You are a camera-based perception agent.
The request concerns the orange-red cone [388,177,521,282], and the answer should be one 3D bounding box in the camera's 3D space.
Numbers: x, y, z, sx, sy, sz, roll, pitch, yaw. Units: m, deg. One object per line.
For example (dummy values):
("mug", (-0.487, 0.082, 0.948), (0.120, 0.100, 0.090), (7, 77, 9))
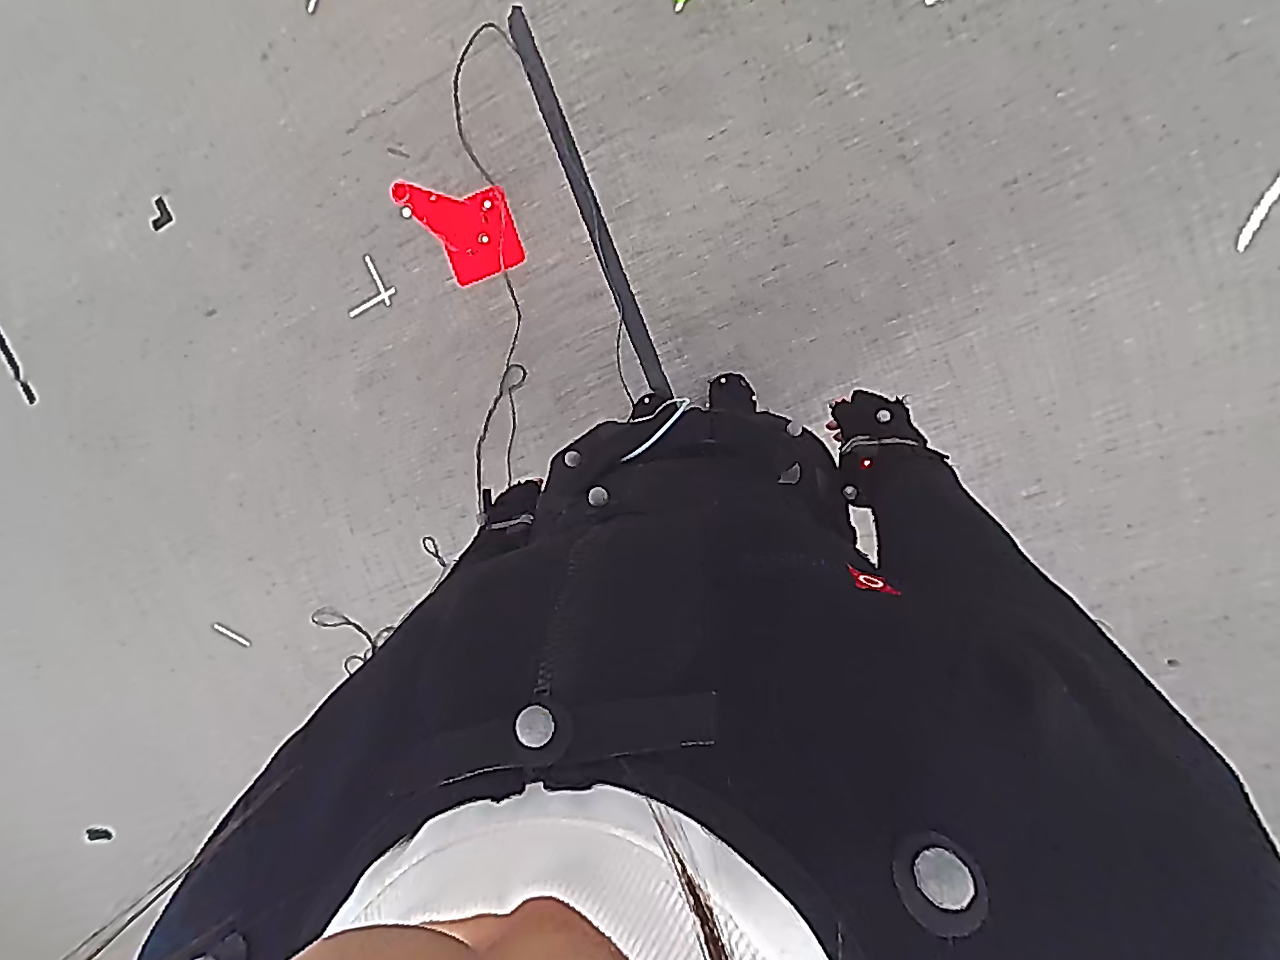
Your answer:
("orange-red cone", (-0.440, -0.592, 1.207), (0.199, 0.360, 0.198), (-16, 97, 13))
